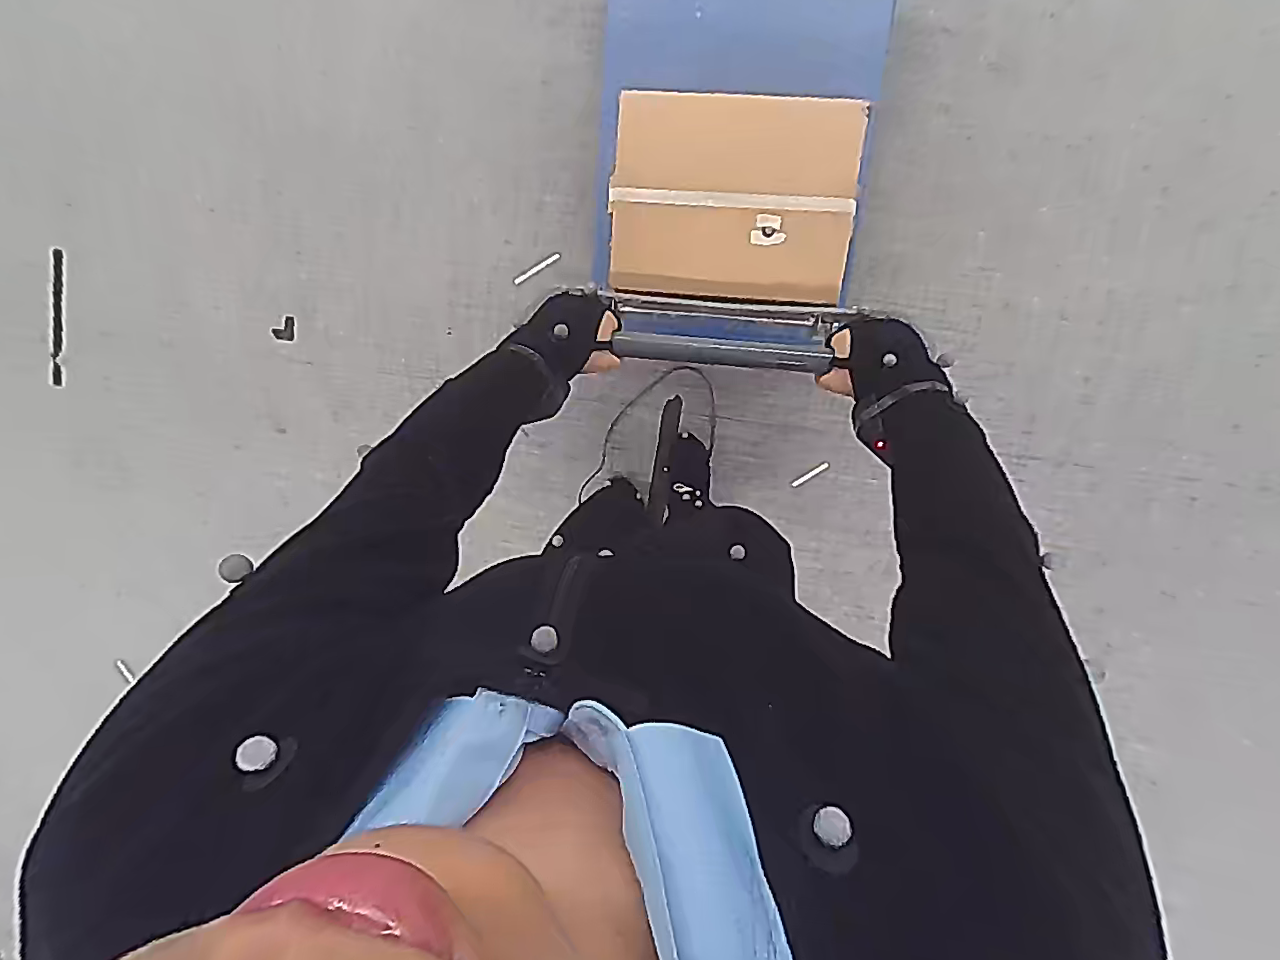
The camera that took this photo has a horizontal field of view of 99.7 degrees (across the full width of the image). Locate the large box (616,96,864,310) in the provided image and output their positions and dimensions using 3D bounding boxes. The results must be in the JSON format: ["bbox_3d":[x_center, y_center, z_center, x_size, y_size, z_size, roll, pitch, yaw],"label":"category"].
[{"bbox_3d":[0.172,-0.517,1.074,0.408,0.320,0.320,5,105,4],"label":"large box"}]
